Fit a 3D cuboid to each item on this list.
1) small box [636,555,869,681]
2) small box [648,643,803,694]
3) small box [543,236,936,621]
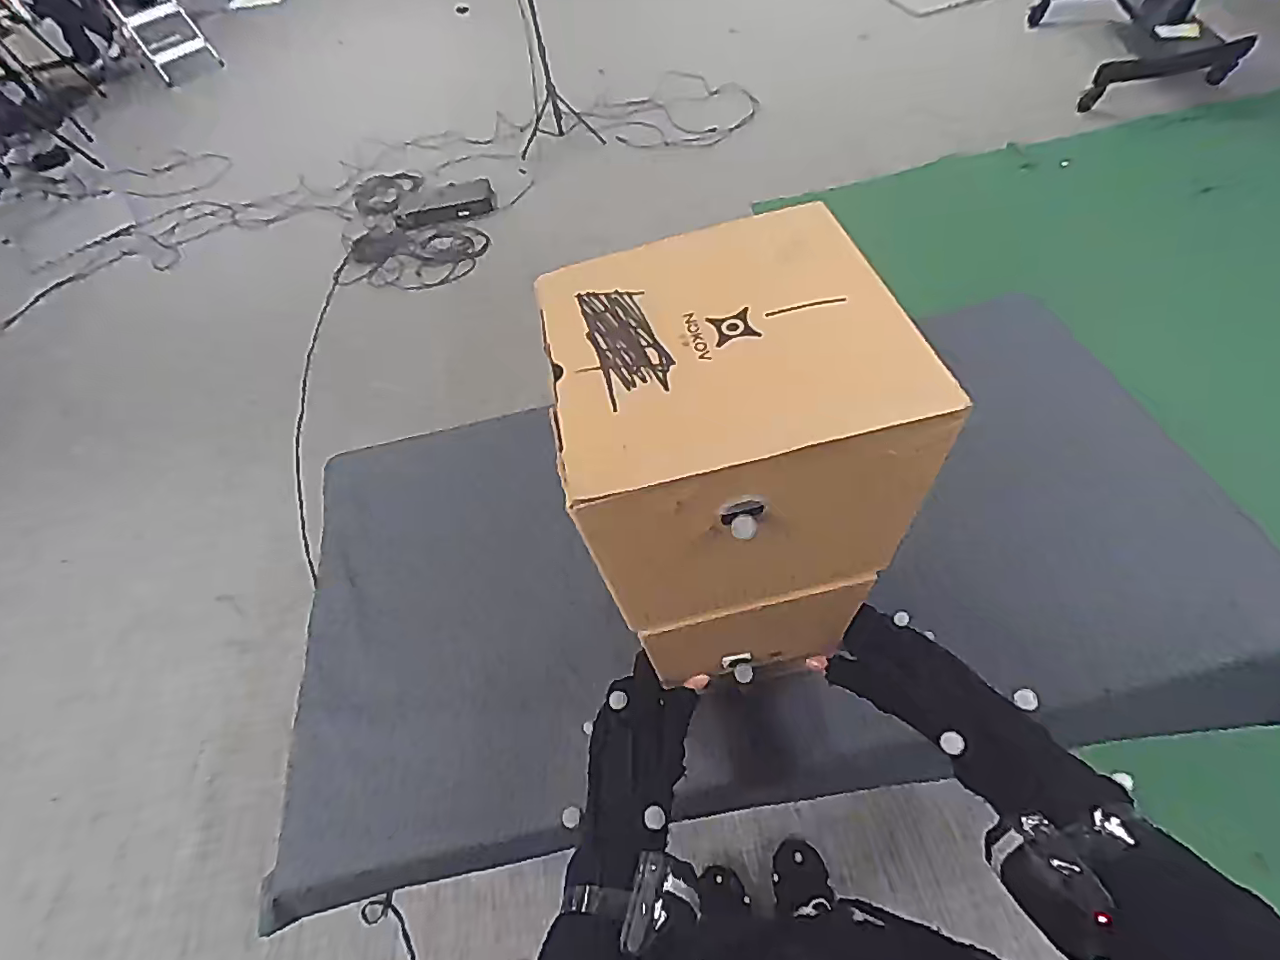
[{"bbox_3d":[0.072,0.057,0.479,0.168,0.176,0.179,-15,57,1],"label":"small box"},{"bbox_3d":[0.089,0.131,0.624,0.179,0.176,0.168,-13,56,-1],"label":"small box"},{"bbox_3d":[0.050,-0.021,0.356,0.179,0.176,0.168,-14,57,1],"label":"small box"}]
